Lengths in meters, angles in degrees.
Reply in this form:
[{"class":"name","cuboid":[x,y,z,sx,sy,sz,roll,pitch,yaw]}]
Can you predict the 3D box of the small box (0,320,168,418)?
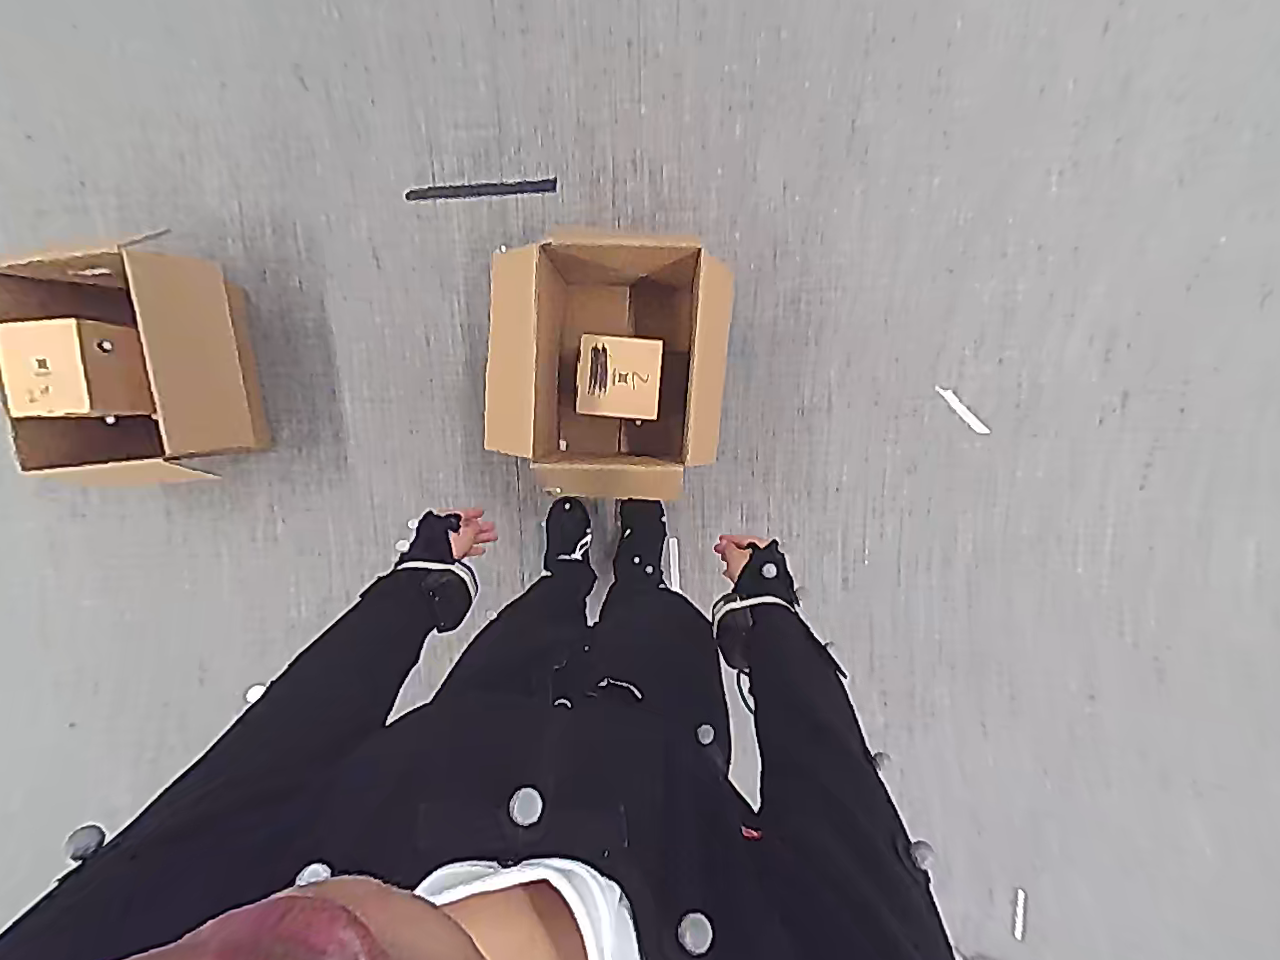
[{"class":"small box","cuboid":[-1.114,-0.216,1.094,0.168,0.176,0.179,-3,97,3]}]
